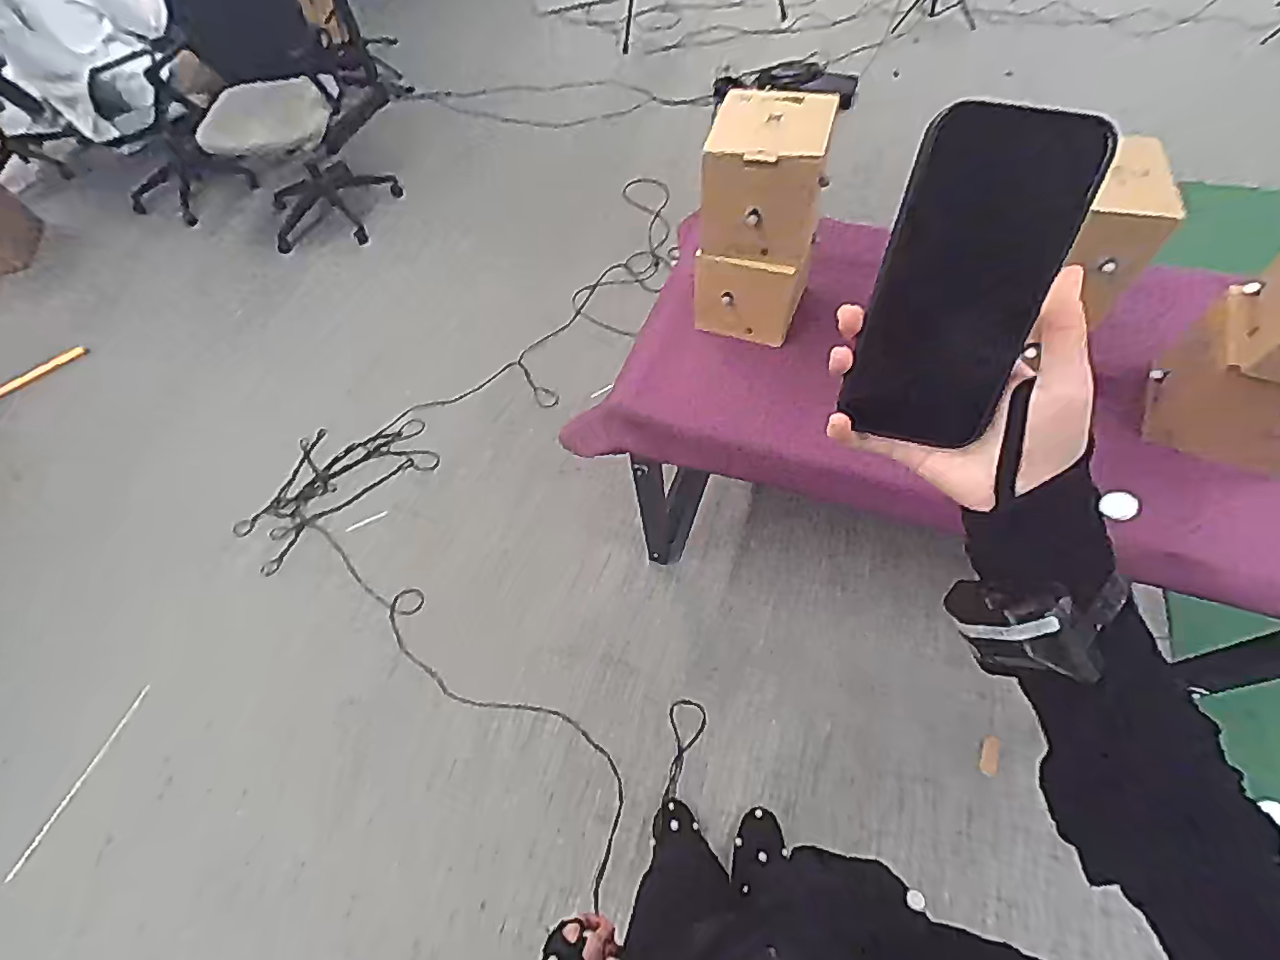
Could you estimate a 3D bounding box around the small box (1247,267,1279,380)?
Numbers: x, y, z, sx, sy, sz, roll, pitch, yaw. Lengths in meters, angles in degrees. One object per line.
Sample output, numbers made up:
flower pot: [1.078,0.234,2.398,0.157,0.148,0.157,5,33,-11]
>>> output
small box: [0.855,-0.203,0.609,0.179,0.176,0.168,23,63,18]

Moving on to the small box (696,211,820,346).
small box: [0.209,-0.369,0.973,0.168,0.176,0.179,18,62,16]

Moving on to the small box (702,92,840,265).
small box: [0.197,-0.461,0.837,0.168,0.176,0.179,13,62,13]

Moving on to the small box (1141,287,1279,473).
small box: [0.867,-0.133,0.757,0.179,0.176,0.168,23,63,19]
